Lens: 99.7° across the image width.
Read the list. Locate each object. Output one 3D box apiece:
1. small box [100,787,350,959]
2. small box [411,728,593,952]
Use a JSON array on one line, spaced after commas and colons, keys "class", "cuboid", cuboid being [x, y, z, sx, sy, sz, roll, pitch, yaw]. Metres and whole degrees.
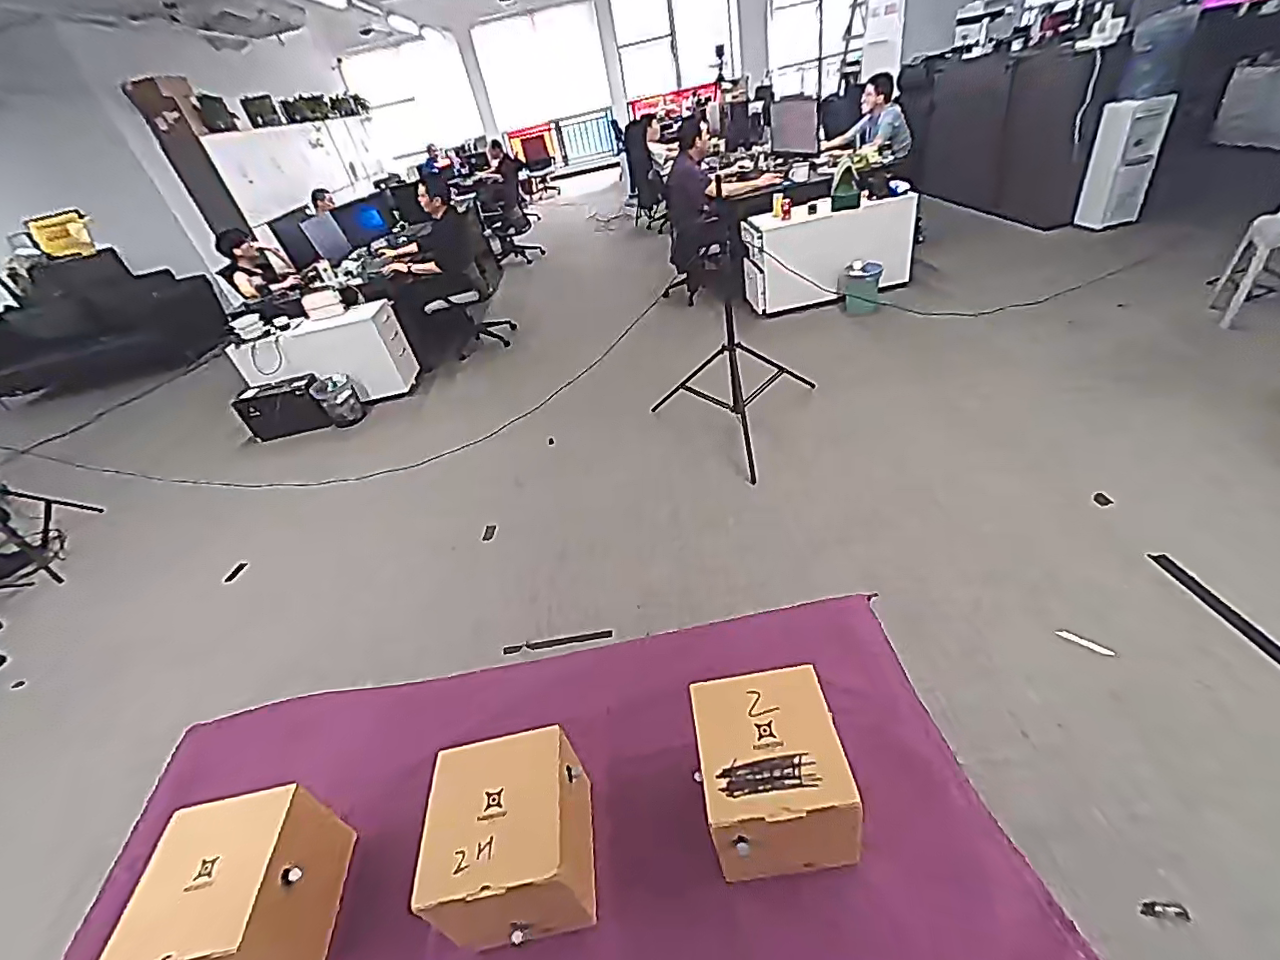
[{"class": "small box", "cuboid": [-0.504, 0.534, 0.690, 0.168, 0.176, 0.179, -13, 37, -1]}, {"class": "small box", "cuboid": [-0.160, 0.453, 0.687, 0.168, 0.176, 0.179, -13, 36, 1]}]
